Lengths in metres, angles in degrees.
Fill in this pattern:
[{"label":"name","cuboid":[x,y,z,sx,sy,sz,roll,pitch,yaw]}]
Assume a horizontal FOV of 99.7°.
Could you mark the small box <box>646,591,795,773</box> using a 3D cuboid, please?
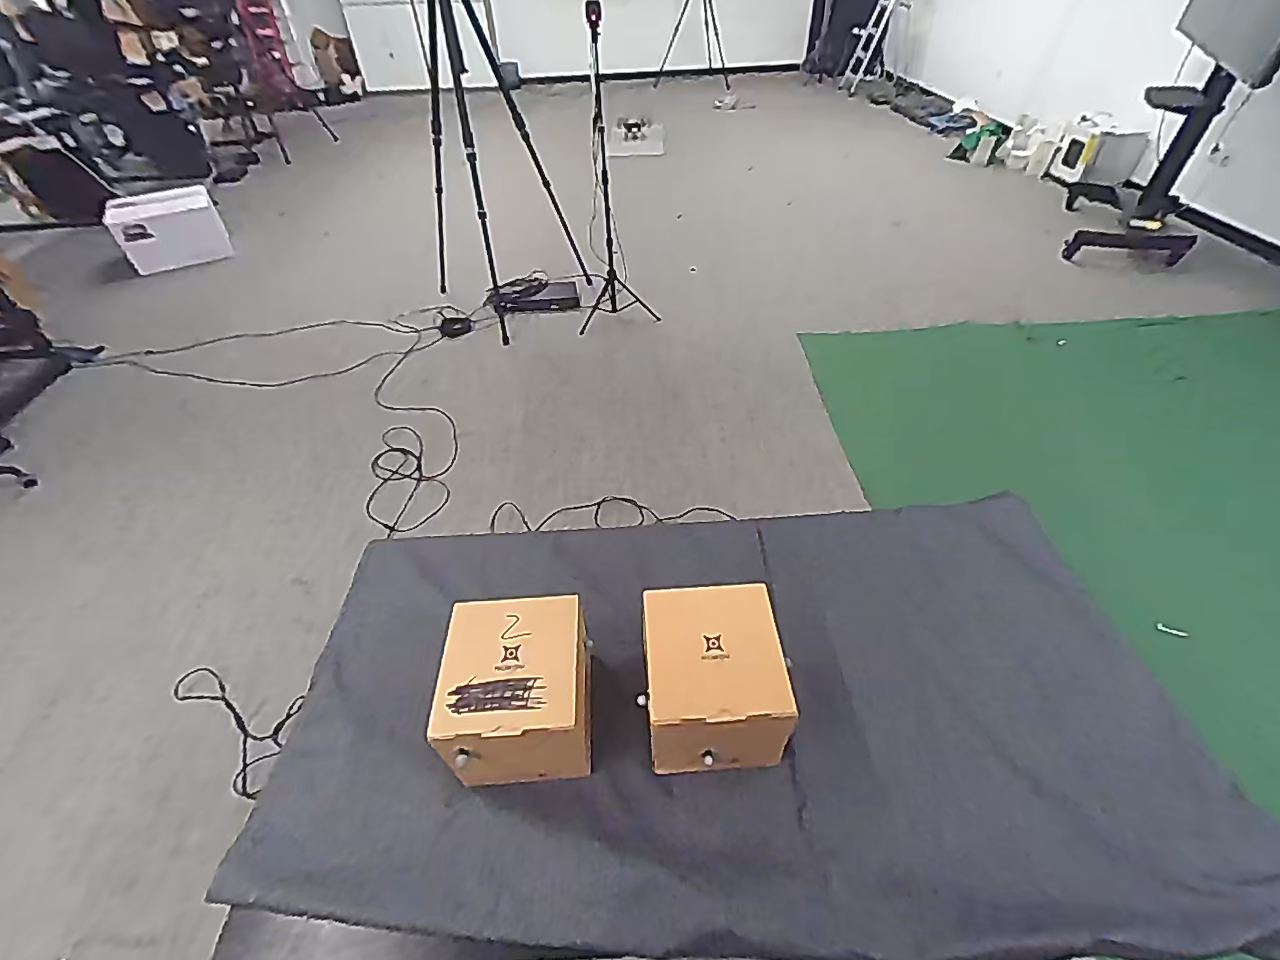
[{"label":"small box","cuboid":[0.093,0.271,0.728,0.168,0.176,0.179,-3,46,-1]}]
